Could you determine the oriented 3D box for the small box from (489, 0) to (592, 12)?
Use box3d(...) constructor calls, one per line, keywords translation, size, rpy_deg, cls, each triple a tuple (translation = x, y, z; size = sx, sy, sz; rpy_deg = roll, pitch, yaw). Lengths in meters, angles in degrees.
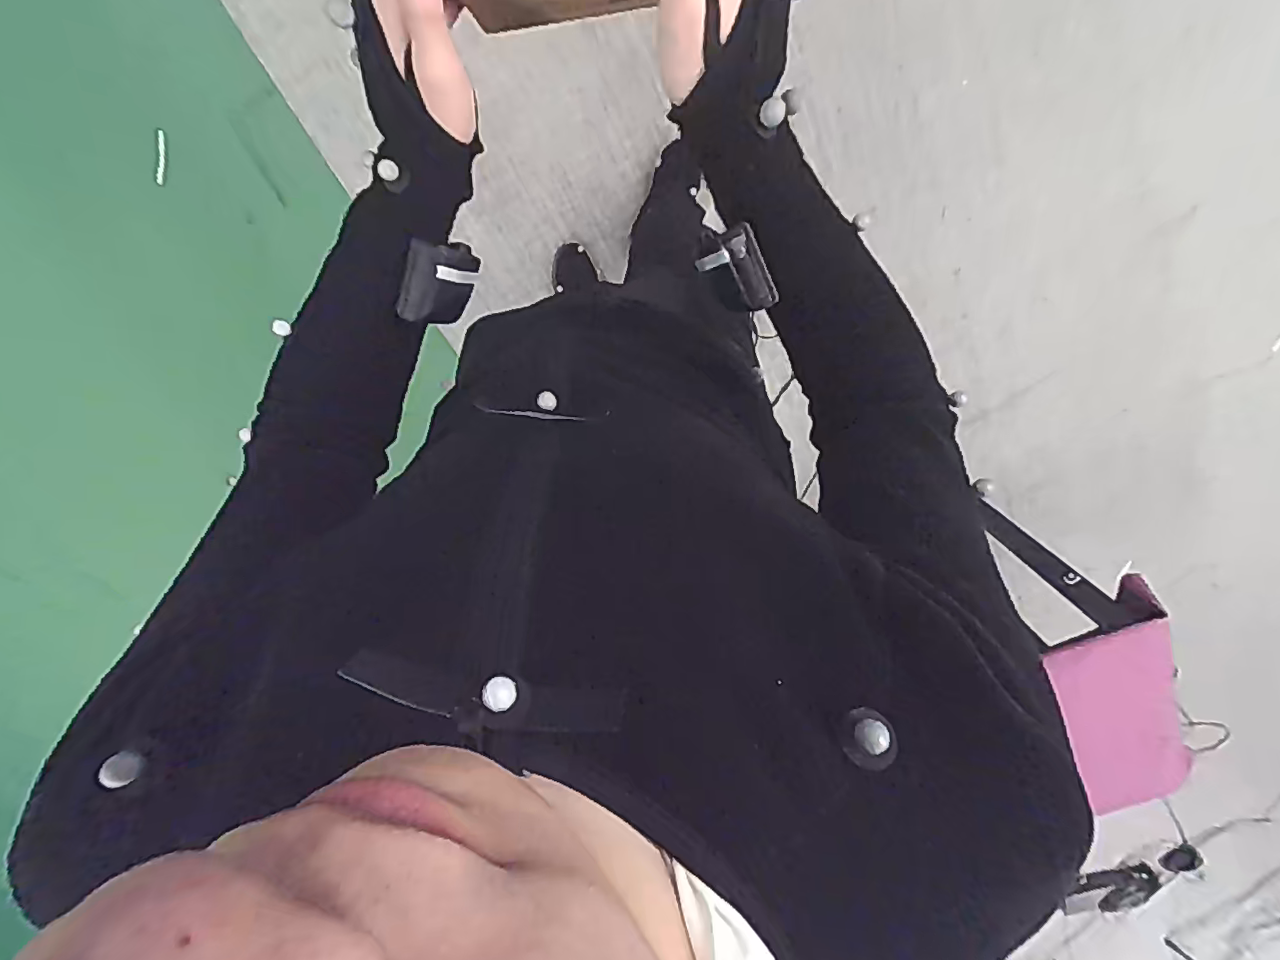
box3d(translation=(-0.045, -0.391, 0.283), size=(0.168, 0.176, 0.179), rpy_deg=(-3, 104, 7), cls="small box")
